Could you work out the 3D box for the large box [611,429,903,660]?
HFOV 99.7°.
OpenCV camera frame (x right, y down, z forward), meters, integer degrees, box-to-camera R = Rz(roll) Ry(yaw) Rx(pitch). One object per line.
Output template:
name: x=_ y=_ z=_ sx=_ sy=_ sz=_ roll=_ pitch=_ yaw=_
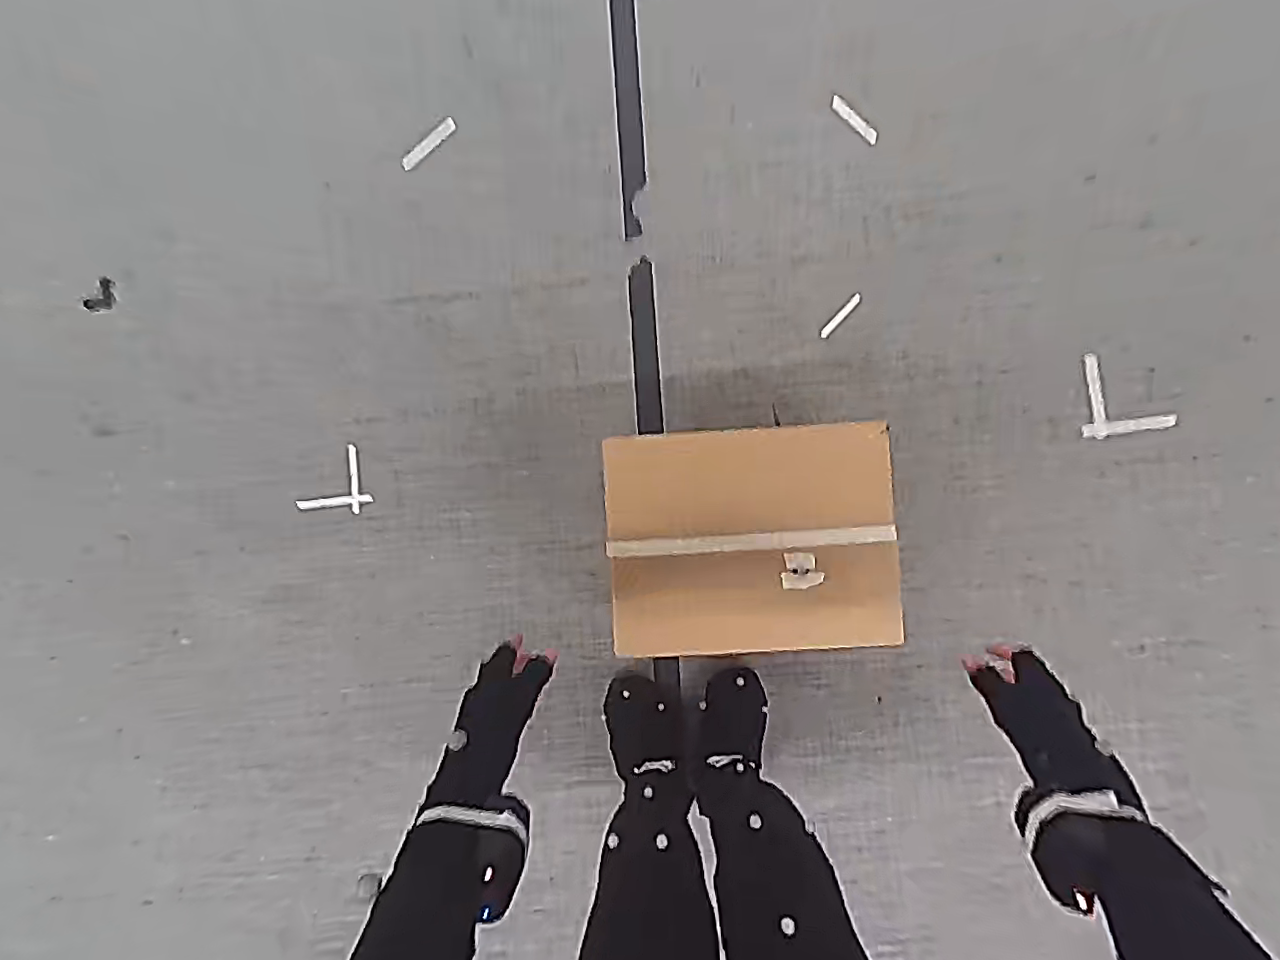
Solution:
large box: x=0.168 y=0.098 z=0.921 sx=0.408 sy=0.320 sz=0.320 roll=-3 pitch=89 yaw=2
